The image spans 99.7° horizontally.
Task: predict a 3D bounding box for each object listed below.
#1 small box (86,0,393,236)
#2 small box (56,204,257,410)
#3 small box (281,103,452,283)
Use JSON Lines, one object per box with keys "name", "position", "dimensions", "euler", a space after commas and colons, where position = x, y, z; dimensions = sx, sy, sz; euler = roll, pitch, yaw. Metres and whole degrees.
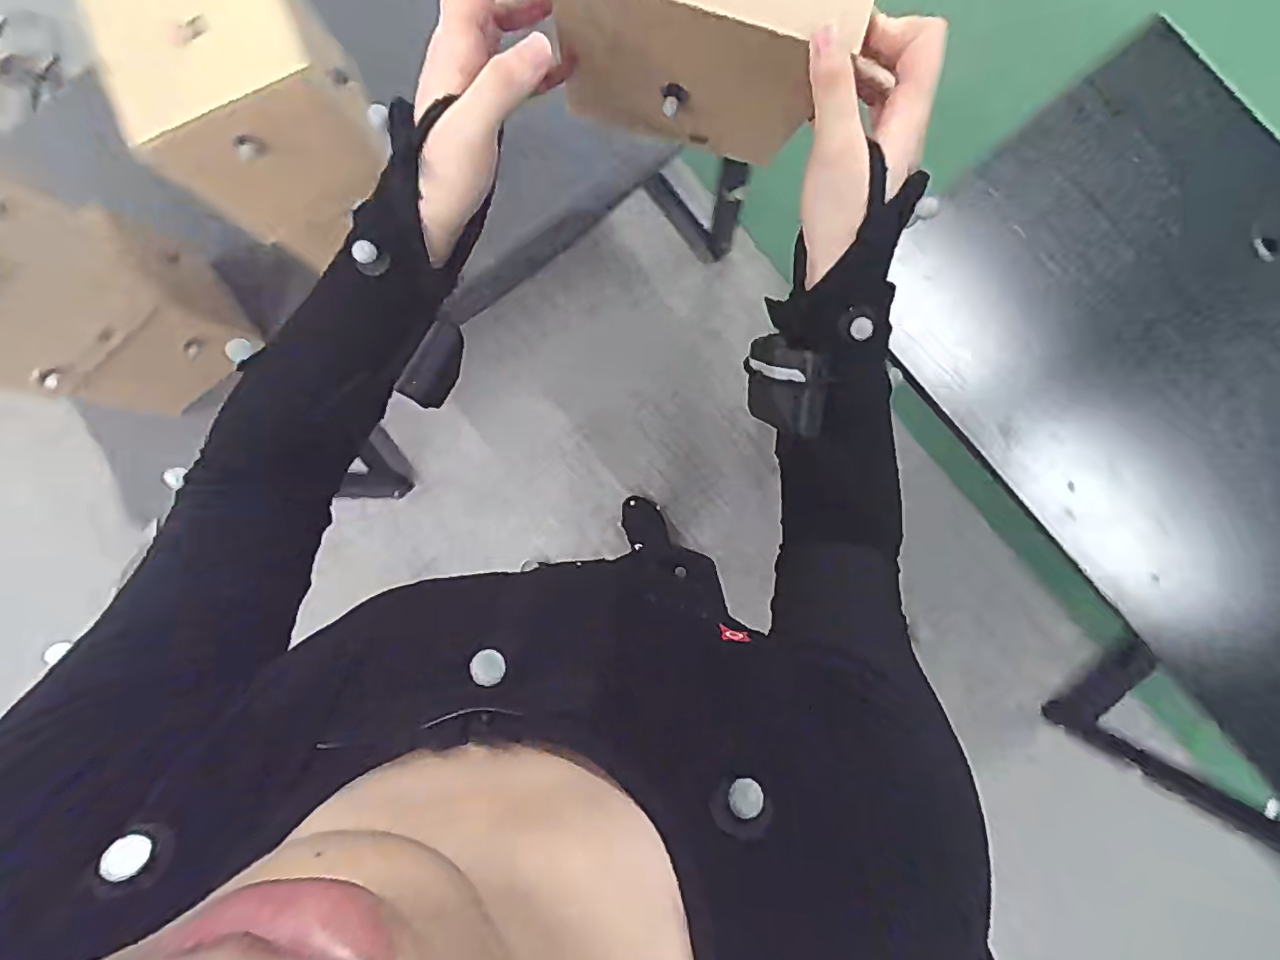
{"name": "small box", "position": [-0.386, -0.392, 0.558], "dimensions": [0.179, 0.176, 0.168], "euler": [-23, 86, 3]}
{"name": "small box", "position": [-0.669, -0.219, 0.731], "dimensions": [0.179, 0.176, 0.168], "euler": [-39, 85, 1]}
{"name": "small box", "position": [-0.384, -0.389, 0.722], "dimensions": [0.168, 0.176, 0.179], "euler": [-28, 86, 2]}
